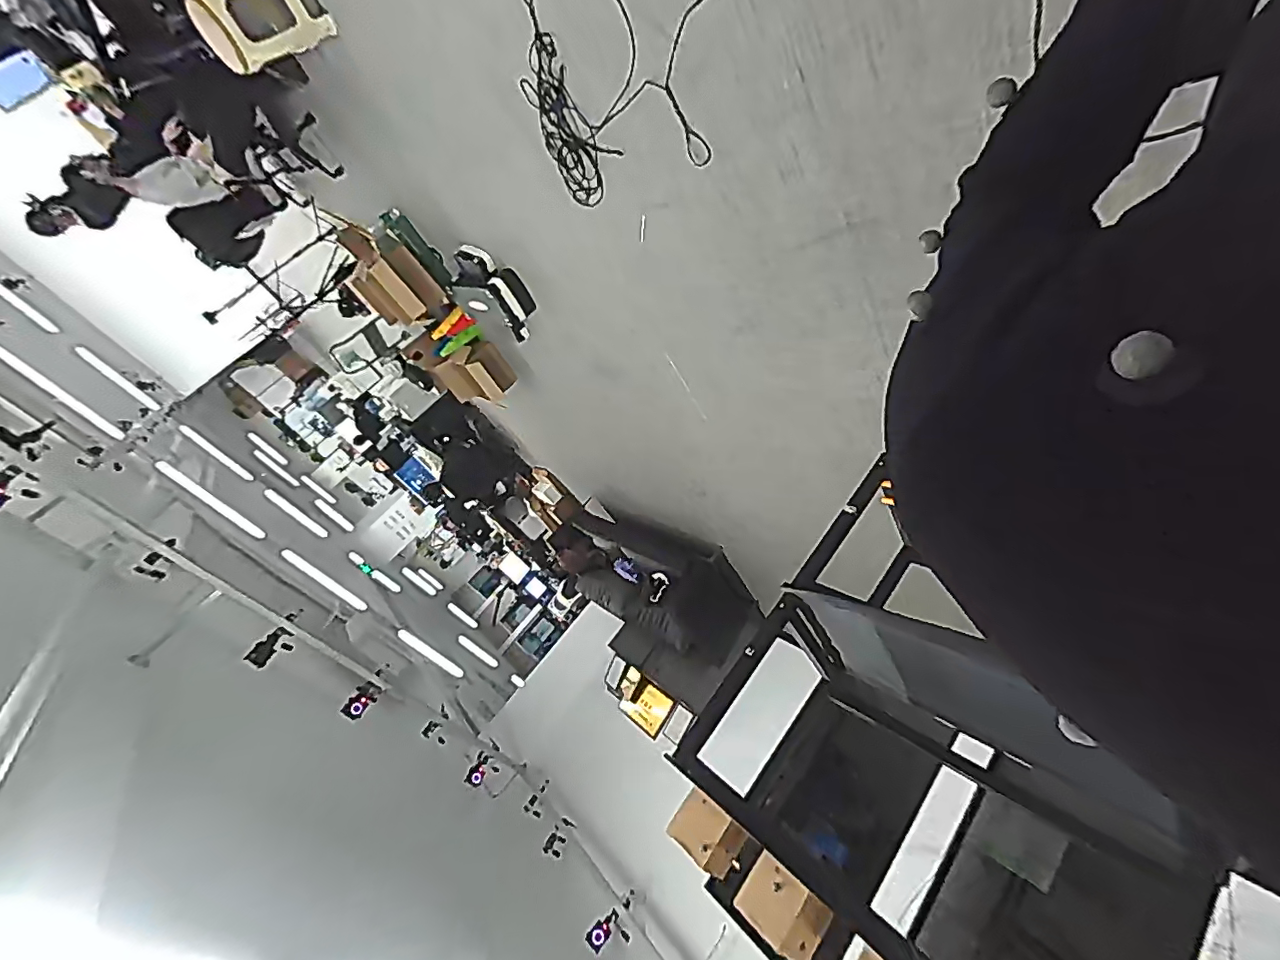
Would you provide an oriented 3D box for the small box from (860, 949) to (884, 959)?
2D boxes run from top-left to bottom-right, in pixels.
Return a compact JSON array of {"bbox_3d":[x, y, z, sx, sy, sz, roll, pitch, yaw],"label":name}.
[{"bbox_3d":[0.577,1.246,1.261,0.168,0.176,0.179,23,154,45],"label":"small box"}]

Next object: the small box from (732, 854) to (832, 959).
[{"bbox_3d":[0.394,1.182,1.482,0.168,0.176,0.179,12,145,56],"label":"small box"}]
